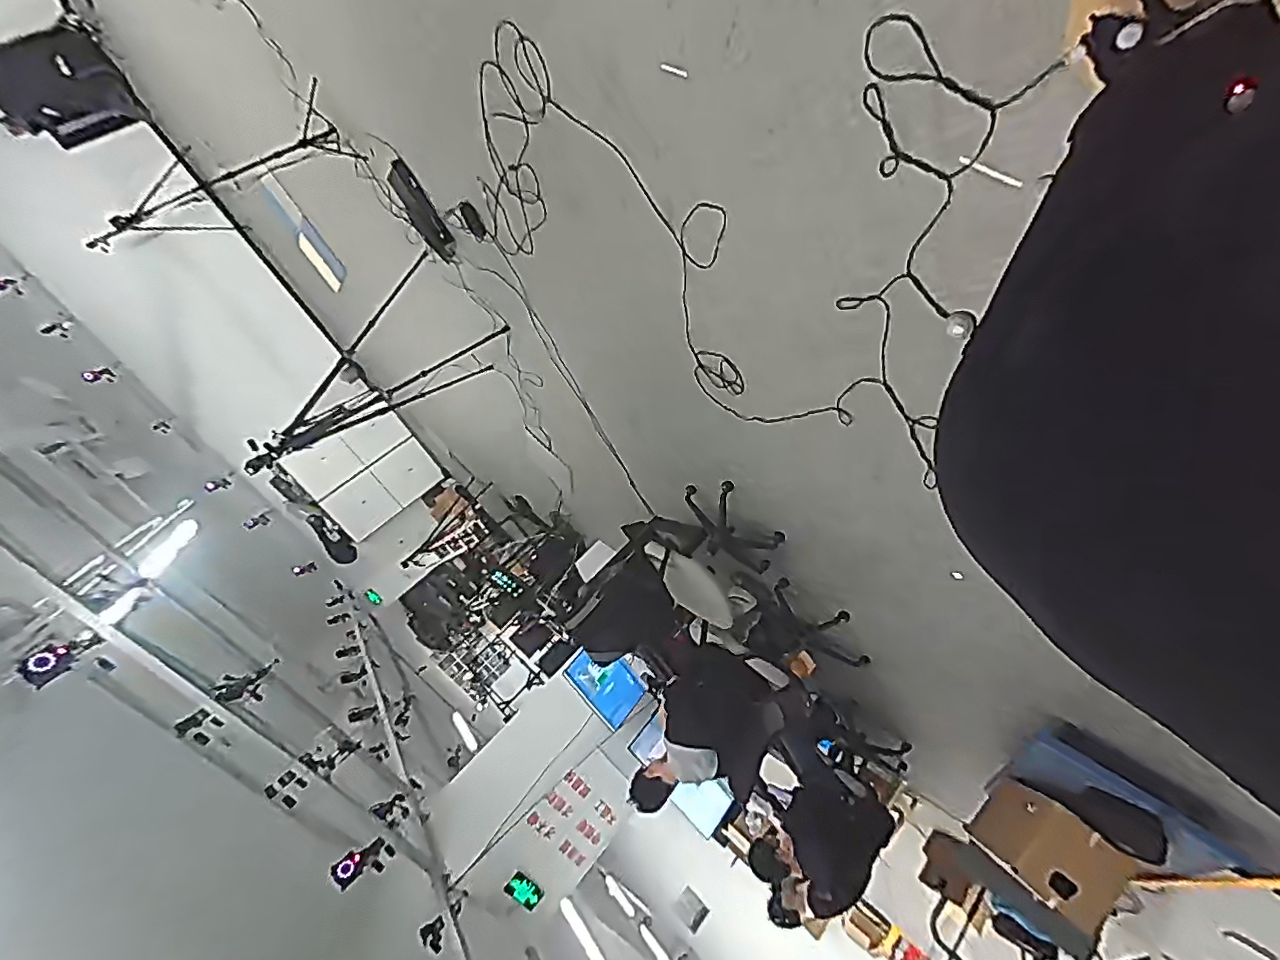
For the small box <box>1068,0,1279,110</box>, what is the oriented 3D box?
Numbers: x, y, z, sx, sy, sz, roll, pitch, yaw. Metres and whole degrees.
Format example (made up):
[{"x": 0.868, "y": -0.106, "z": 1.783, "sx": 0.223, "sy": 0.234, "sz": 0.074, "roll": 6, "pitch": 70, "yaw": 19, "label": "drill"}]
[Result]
[{"x": 0.514, "y": -0.484, "z": 0.486, "sx": 0.168, "sy": 0.179, "sz": 0.176, "roll": 9, "pitch": 103, "yaw": 52, "label": "small box"}]
